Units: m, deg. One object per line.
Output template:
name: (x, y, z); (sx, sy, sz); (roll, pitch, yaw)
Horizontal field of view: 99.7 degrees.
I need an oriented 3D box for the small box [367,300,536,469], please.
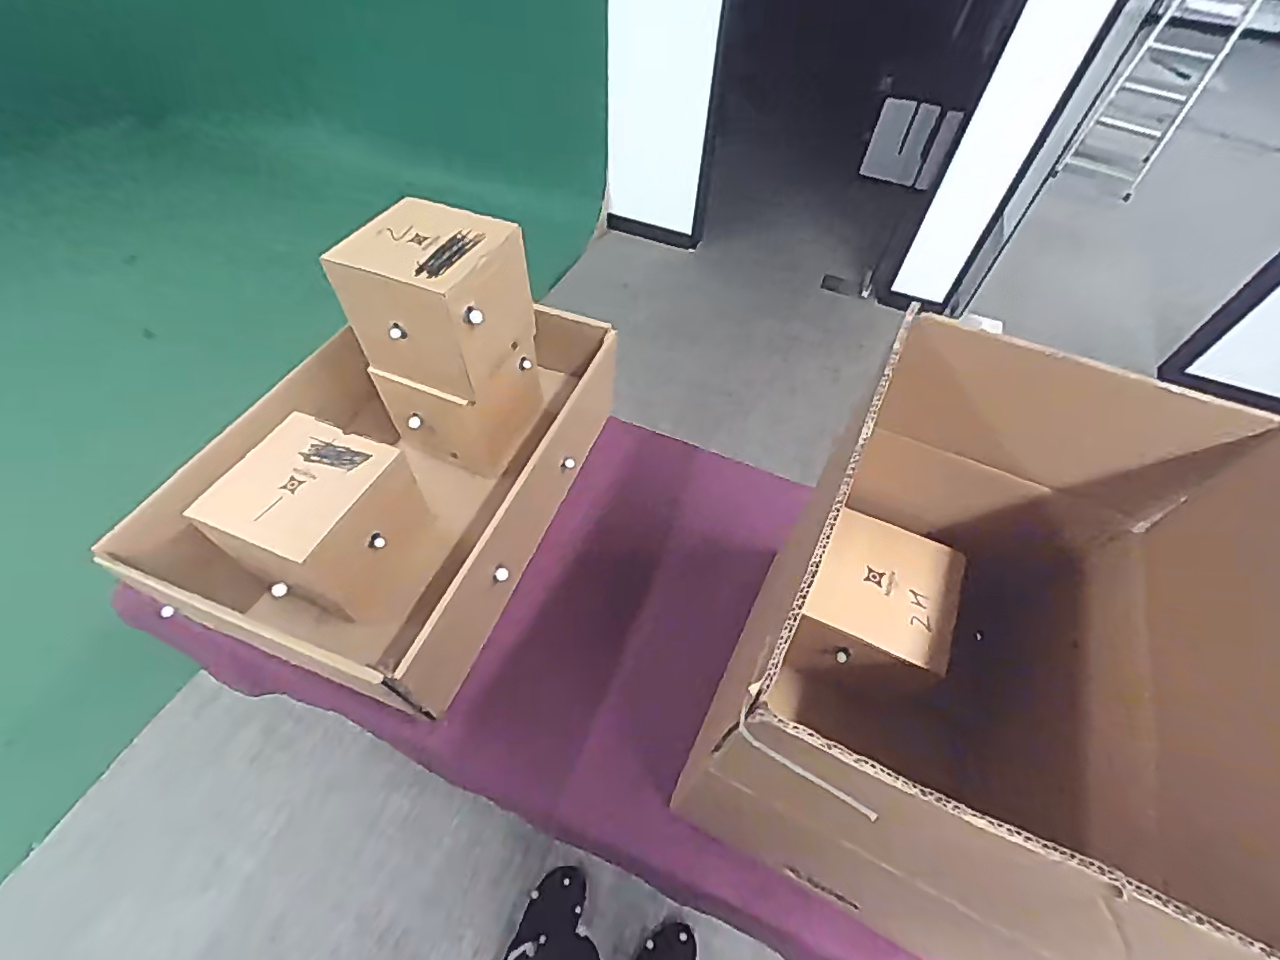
small box: (-0.278, -0.145, 0.849); (0.168, 0.176, 0.179); (20, 55, 12)
